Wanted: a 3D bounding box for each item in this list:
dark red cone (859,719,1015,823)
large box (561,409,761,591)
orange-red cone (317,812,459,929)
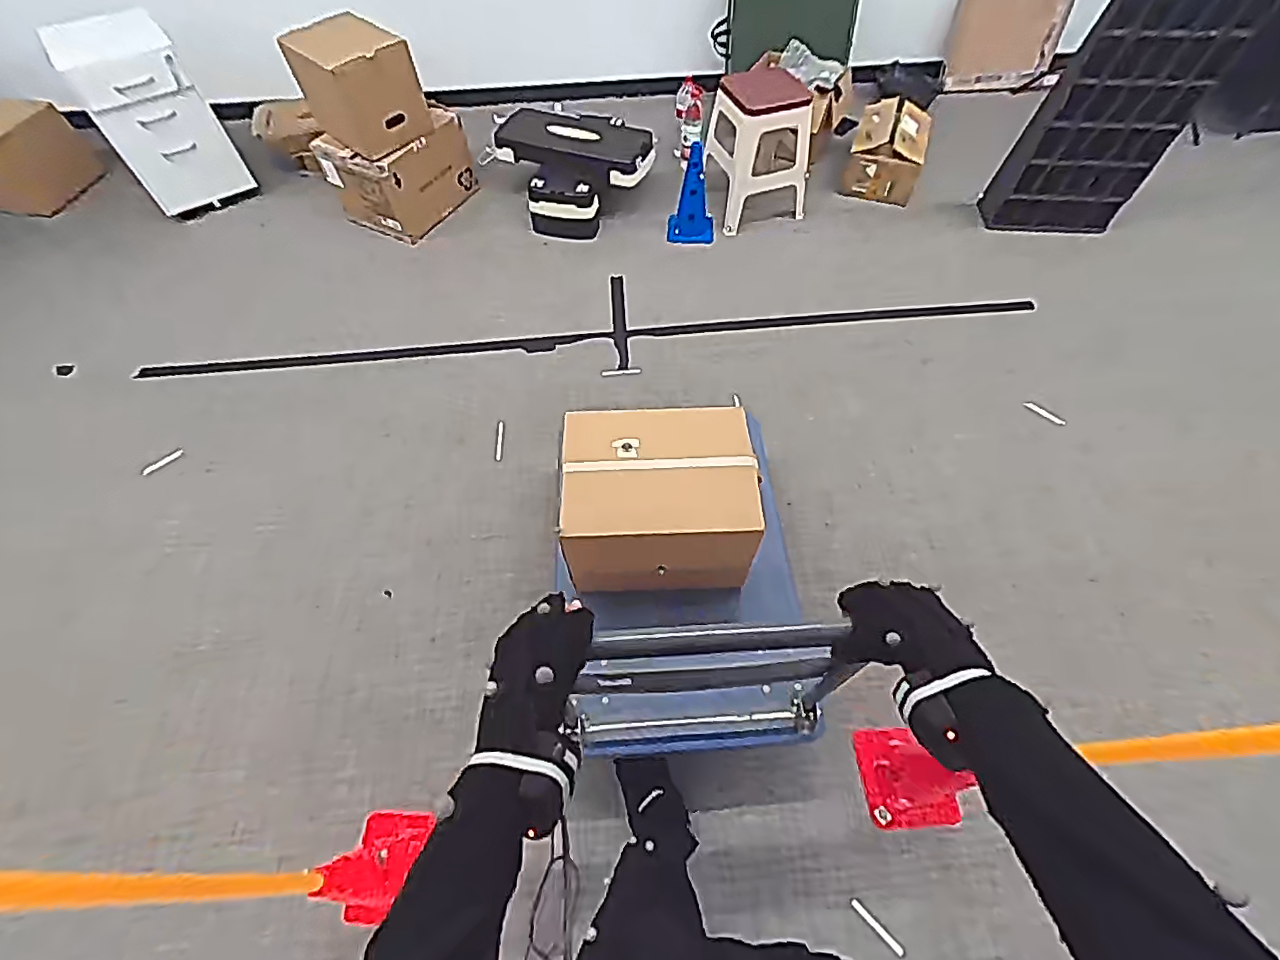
[{"bbox_3d":[0.614,0.564,1.079,0.201,0.394,0.202,-4,58,-3],"label":"dark red cone"},{"bbox_3d":[0.040,0.058,1.267,0.408,0.320,0.320,-3,58,0],"label":"large box"},{"bbox_3d":[-0.505,0.742,1.023,0.198,0.360,0.199,2,56,2],"label":"orange-red cone"}]
